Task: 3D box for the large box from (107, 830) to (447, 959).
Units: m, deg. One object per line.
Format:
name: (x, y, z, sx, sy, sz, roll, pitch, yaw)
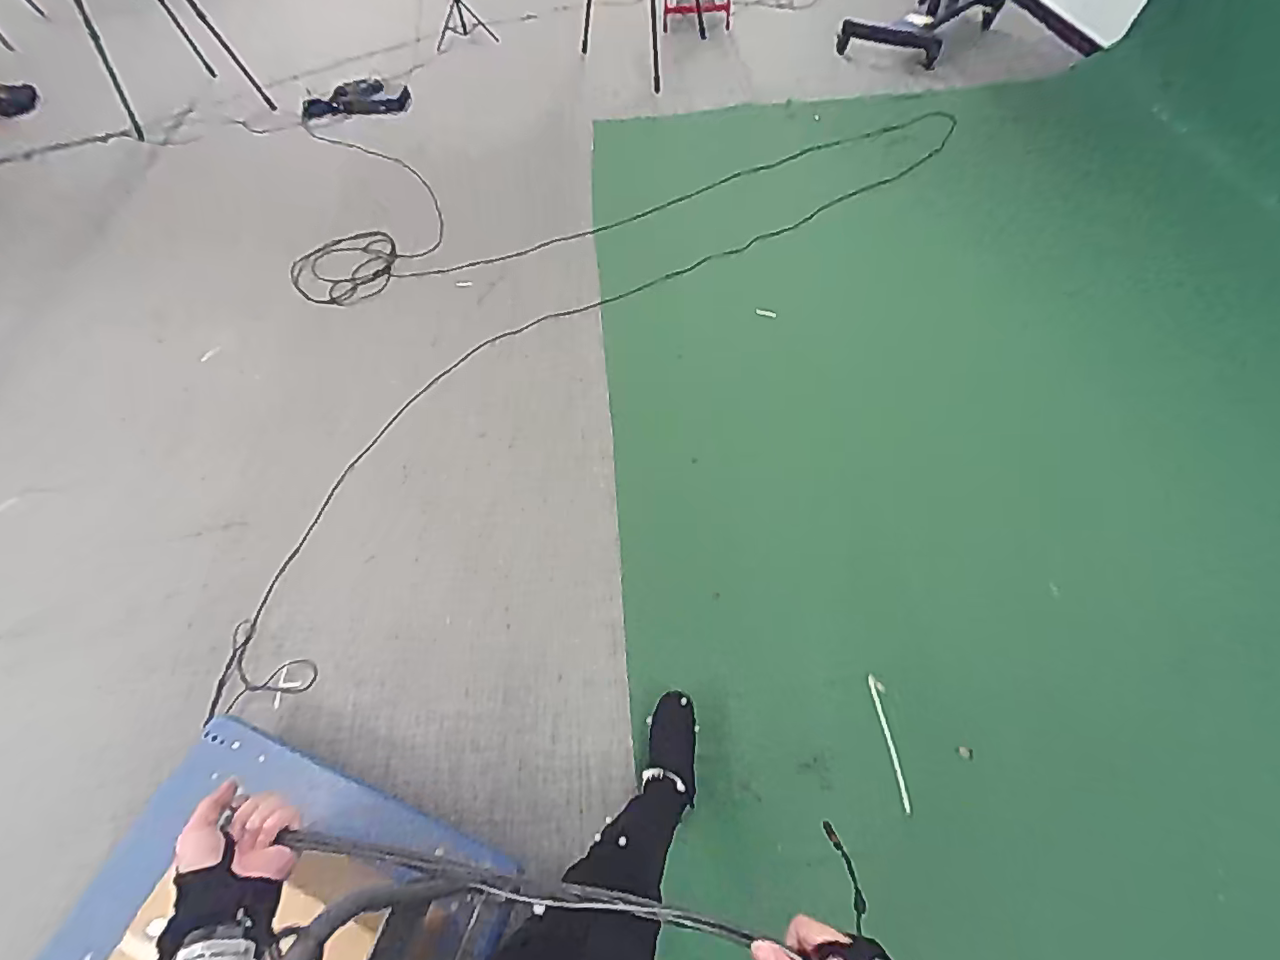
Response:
large box: (-0.631, 0.865, 0.945, 0.408, 0.320, 0.320, 17, 60, 15)
